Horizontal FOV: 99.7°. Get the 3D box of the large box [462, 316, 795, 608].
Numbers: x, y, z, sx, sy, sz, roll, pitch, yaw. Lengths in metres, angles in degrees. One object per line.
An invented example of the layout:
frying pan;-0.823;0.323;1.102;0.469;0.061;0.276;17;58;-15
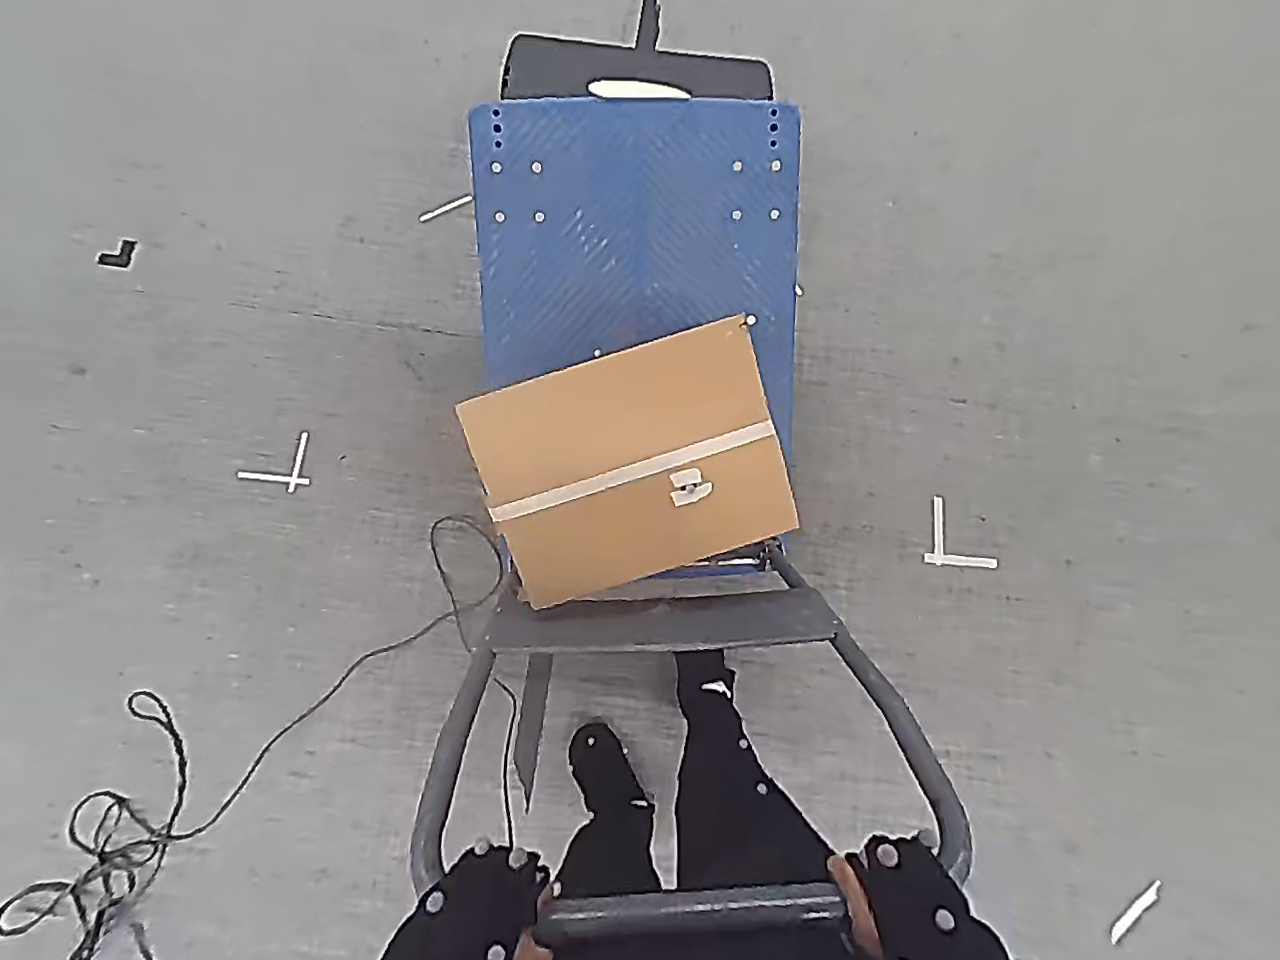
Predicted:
large box;-0.018;-0.044;0.897;0.408;0.320;0.320;-18;103;-1
